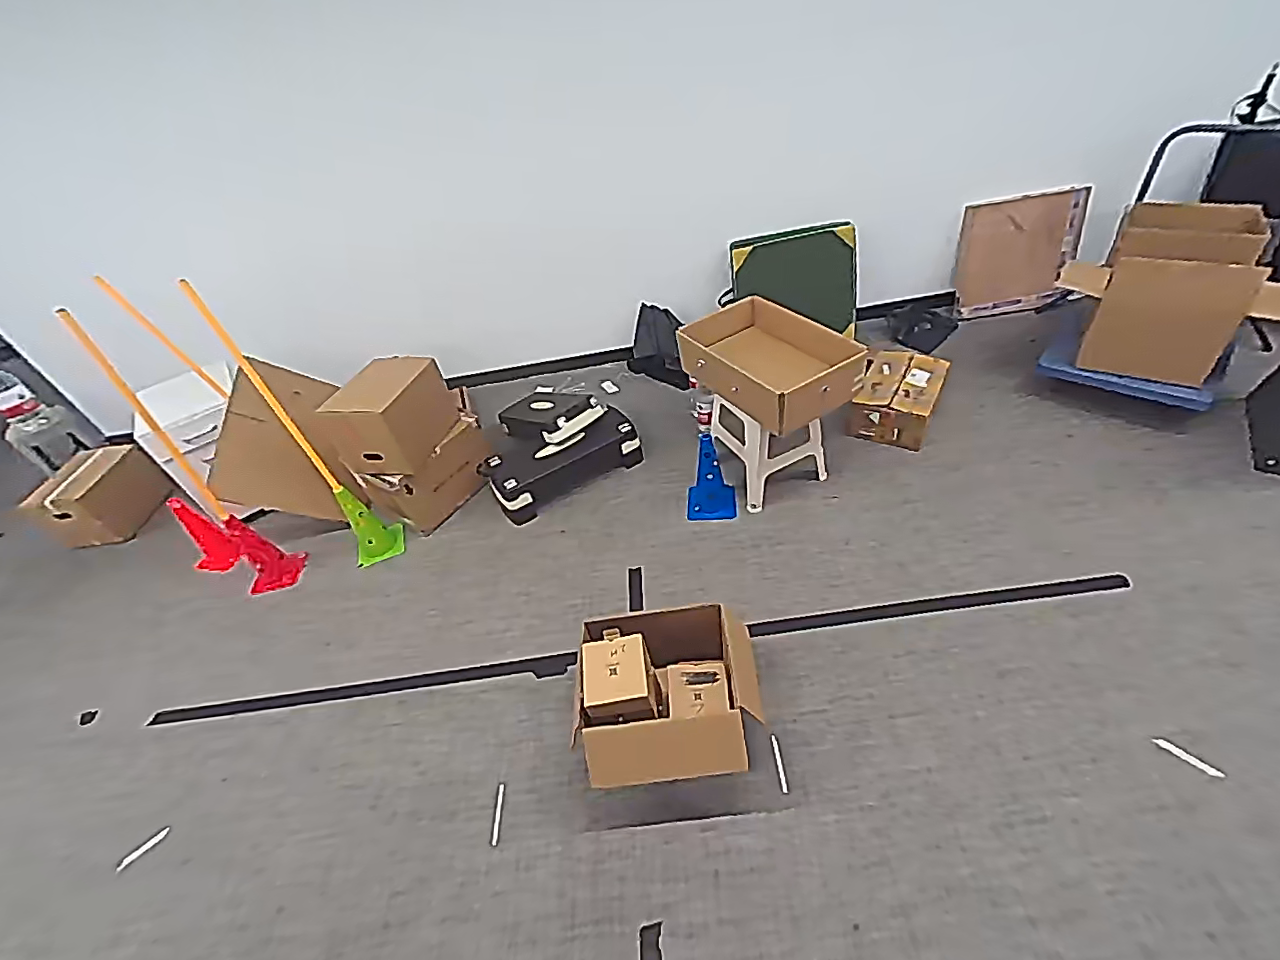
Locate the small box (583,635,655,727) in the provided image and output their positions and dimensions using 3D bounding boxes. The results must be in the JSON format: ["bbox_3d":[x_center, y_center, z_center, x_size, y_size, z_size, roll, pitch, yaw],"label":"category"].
[{"bbox_3d":[-0.056,0.547,1.458,0.168,0.176,0.179,-9,43,2],"label":"small box"}]
